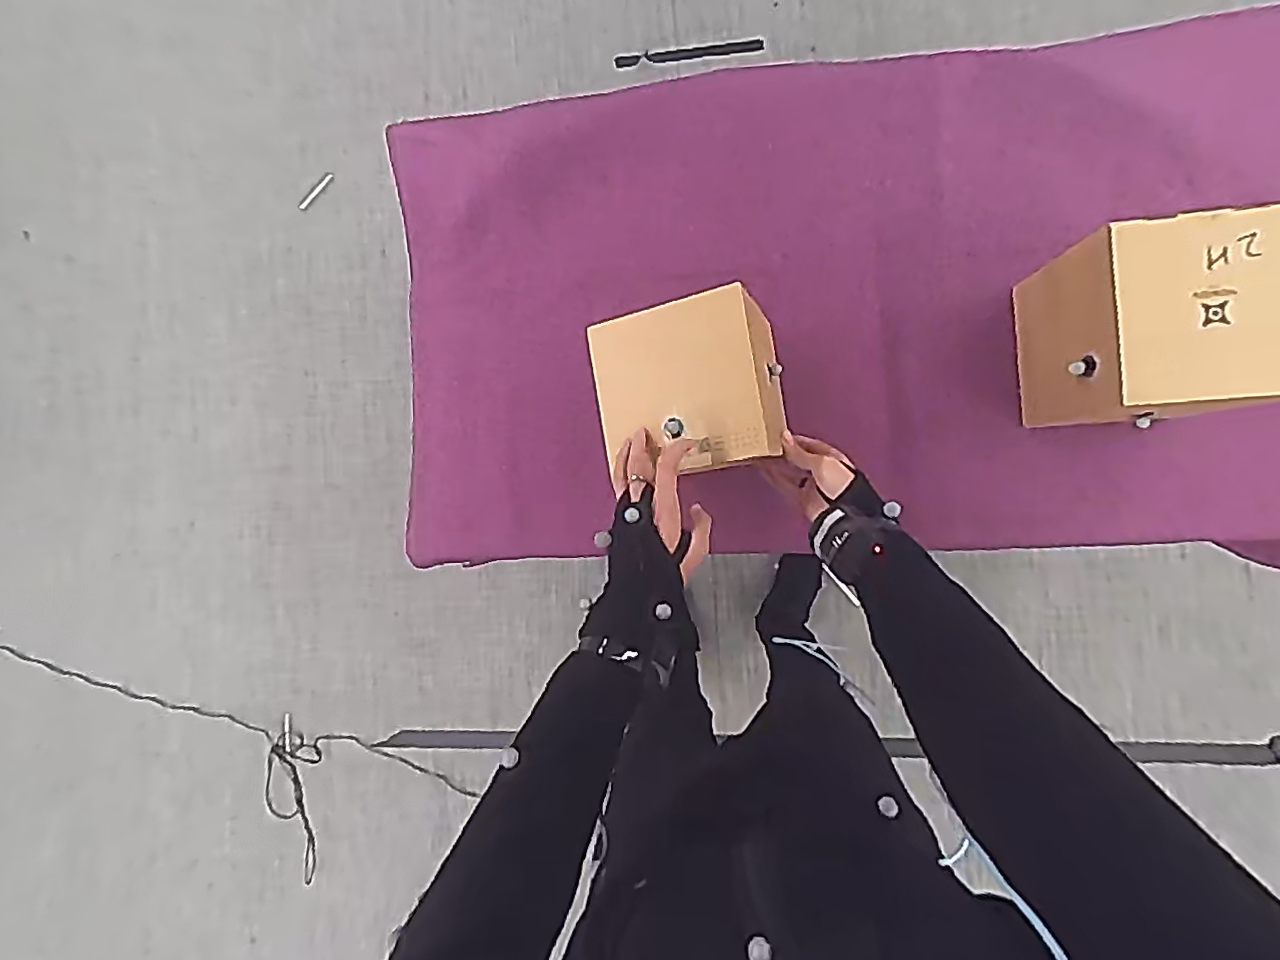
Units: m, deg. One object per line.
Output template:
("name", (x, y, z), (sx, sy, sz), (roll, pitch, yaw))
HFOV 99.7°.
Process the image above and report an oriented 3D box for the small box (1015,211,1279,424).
("small box", (0.533, -0.154, 0.574), (0.168, 0.176, 0.179), (-3, 89, 8))
